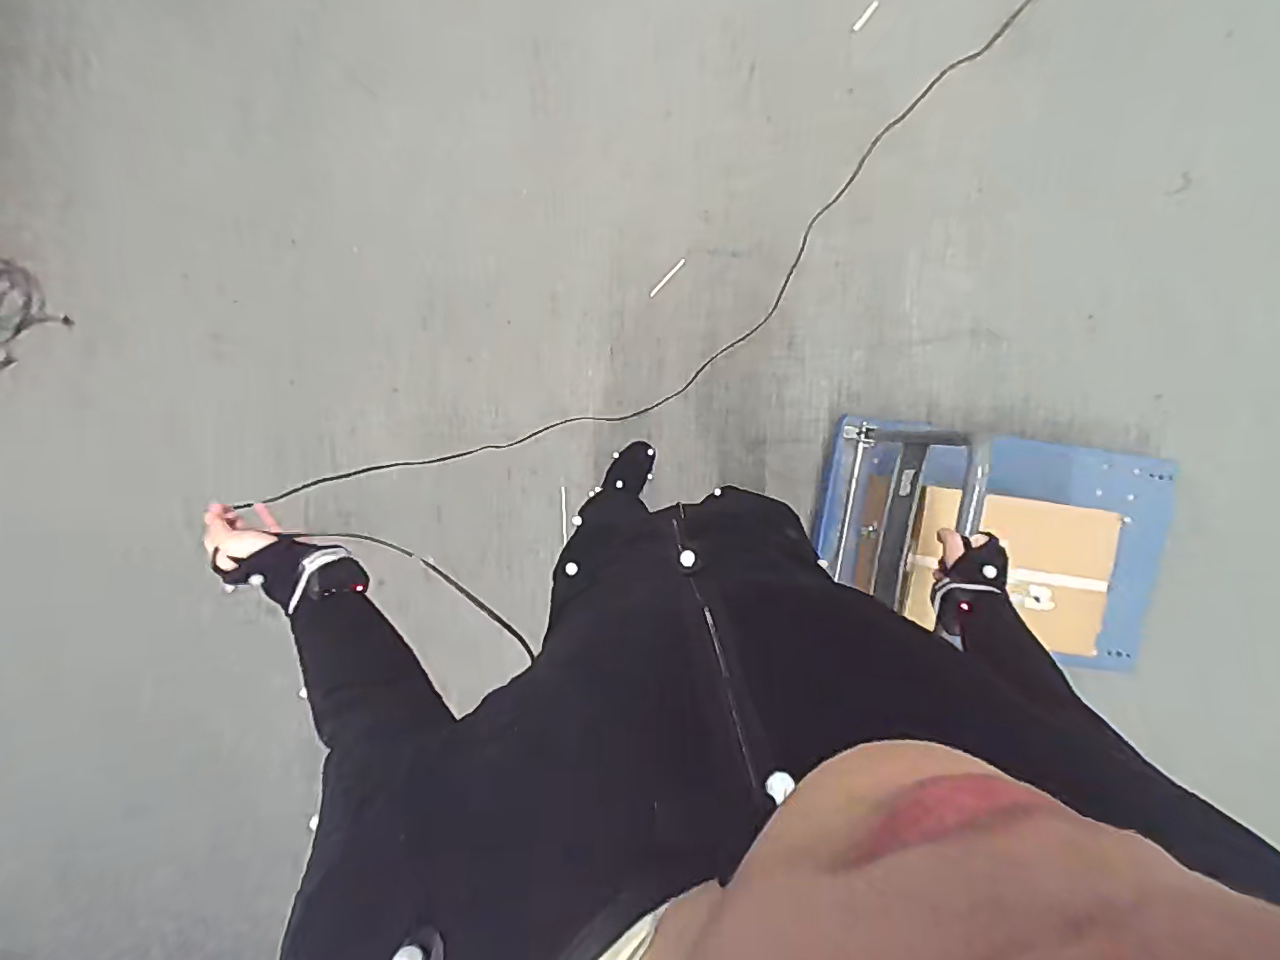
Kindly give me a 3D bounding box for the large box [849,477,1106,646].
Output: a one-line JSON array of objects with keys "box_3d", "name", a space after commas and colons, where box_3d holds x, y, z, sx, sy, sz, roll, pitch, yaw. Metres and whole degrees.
[{"box_3d": [0.766, 0.171, 1.294, 0.408, 0.320, 0.320, 8, 95, 2], "name": "large box"}]
